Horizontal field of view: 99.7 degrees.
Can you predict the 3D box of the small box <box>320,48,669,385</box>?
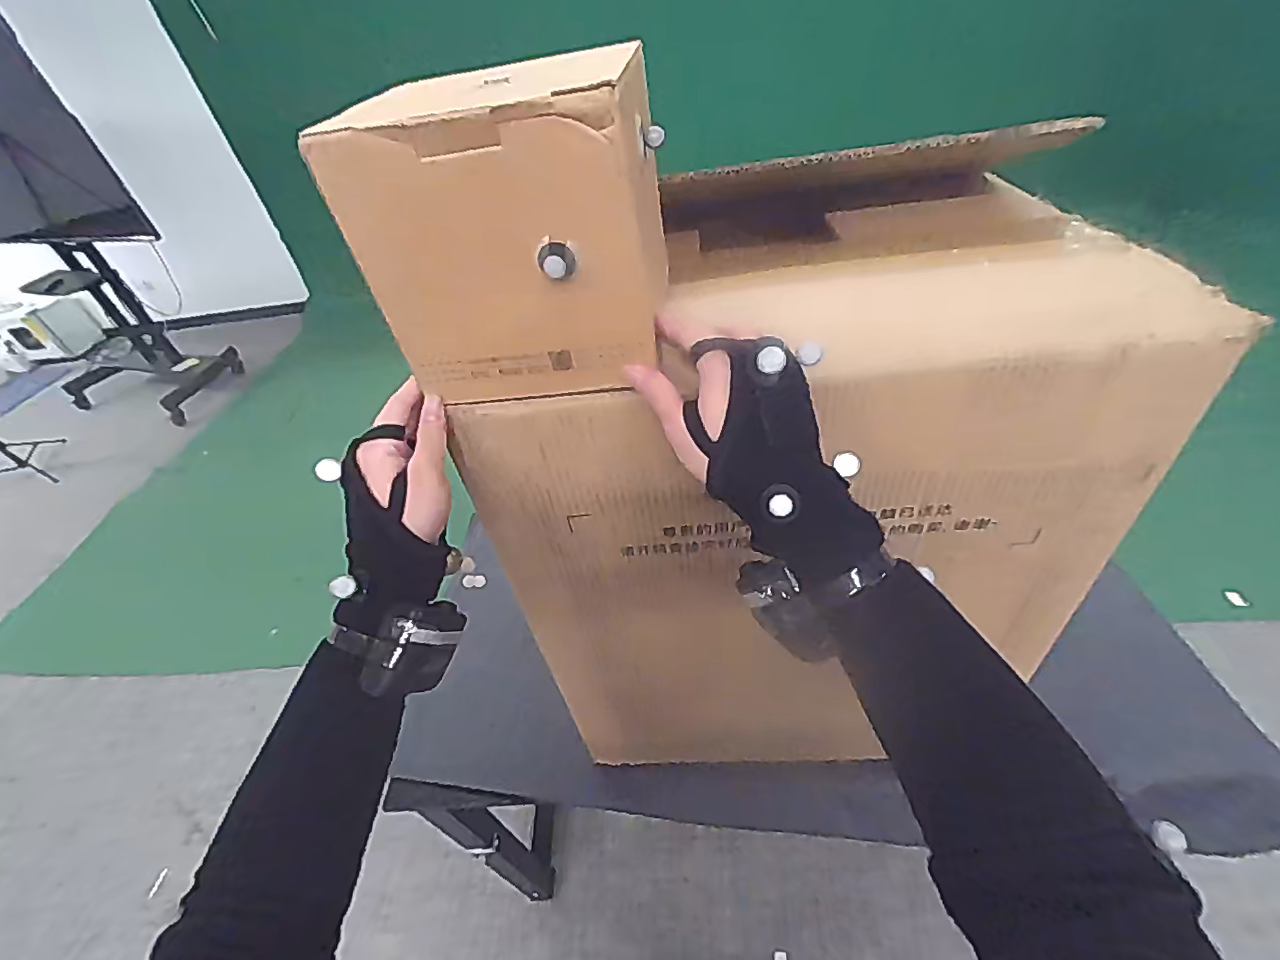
[{"bbox_3d":[-0.071,-0.179,0.385,0.168,0.176,0.179,-3,42,9],"label":"small box"}]
